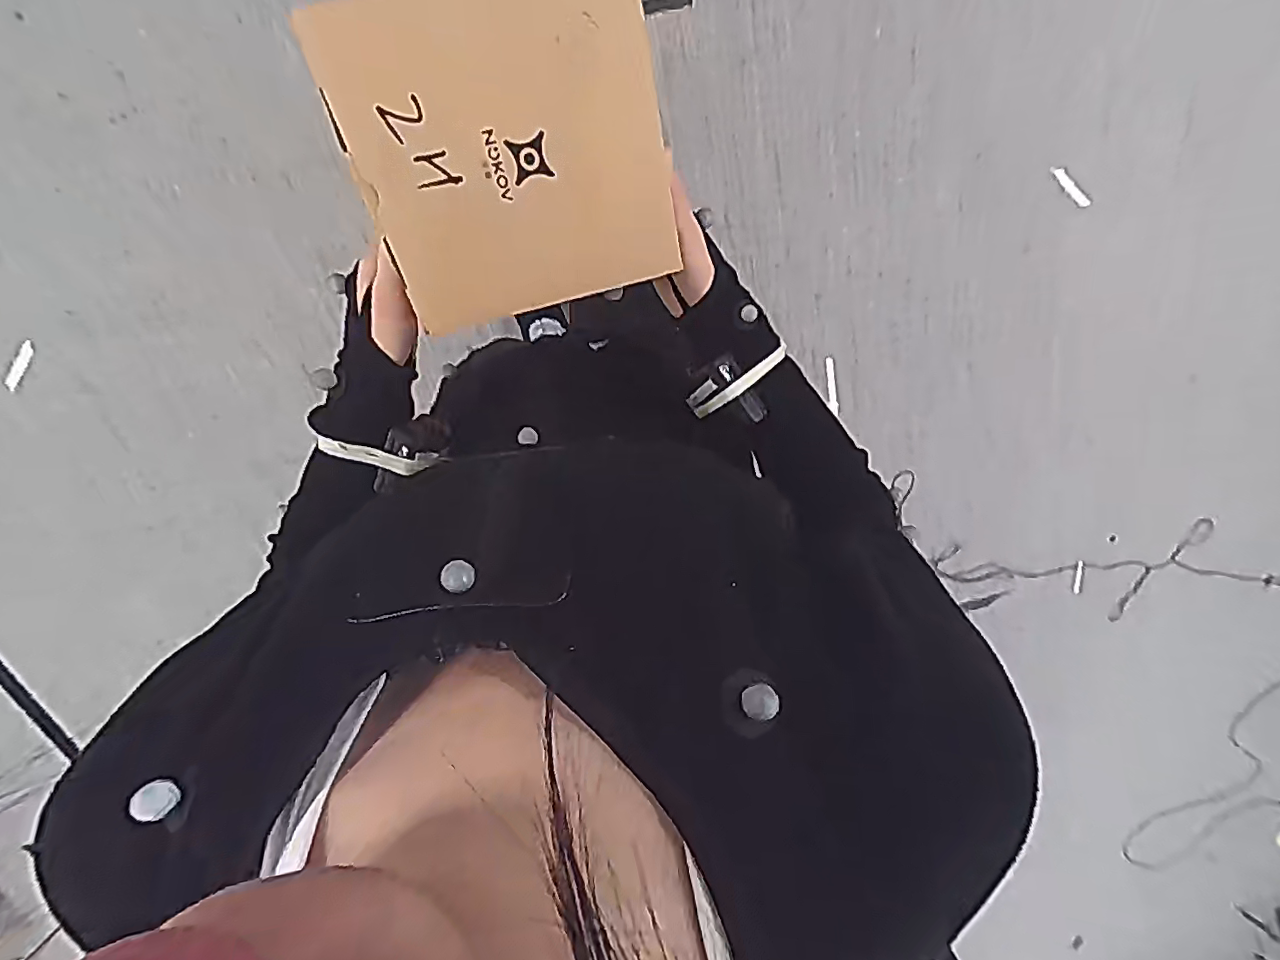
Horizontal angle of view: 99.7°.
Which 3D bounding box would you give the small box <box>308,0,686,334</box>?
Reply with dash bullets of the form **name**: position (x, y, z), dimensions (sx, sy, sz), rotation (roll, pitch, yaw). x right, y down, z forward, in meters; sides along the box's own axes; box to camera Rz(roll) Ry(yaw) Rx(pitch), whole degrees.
- **small box**: position (-0.082, -0.223, 0.379), dimensions (0.179, 0.176, 0.168), rotation (-16, 122, -3)
